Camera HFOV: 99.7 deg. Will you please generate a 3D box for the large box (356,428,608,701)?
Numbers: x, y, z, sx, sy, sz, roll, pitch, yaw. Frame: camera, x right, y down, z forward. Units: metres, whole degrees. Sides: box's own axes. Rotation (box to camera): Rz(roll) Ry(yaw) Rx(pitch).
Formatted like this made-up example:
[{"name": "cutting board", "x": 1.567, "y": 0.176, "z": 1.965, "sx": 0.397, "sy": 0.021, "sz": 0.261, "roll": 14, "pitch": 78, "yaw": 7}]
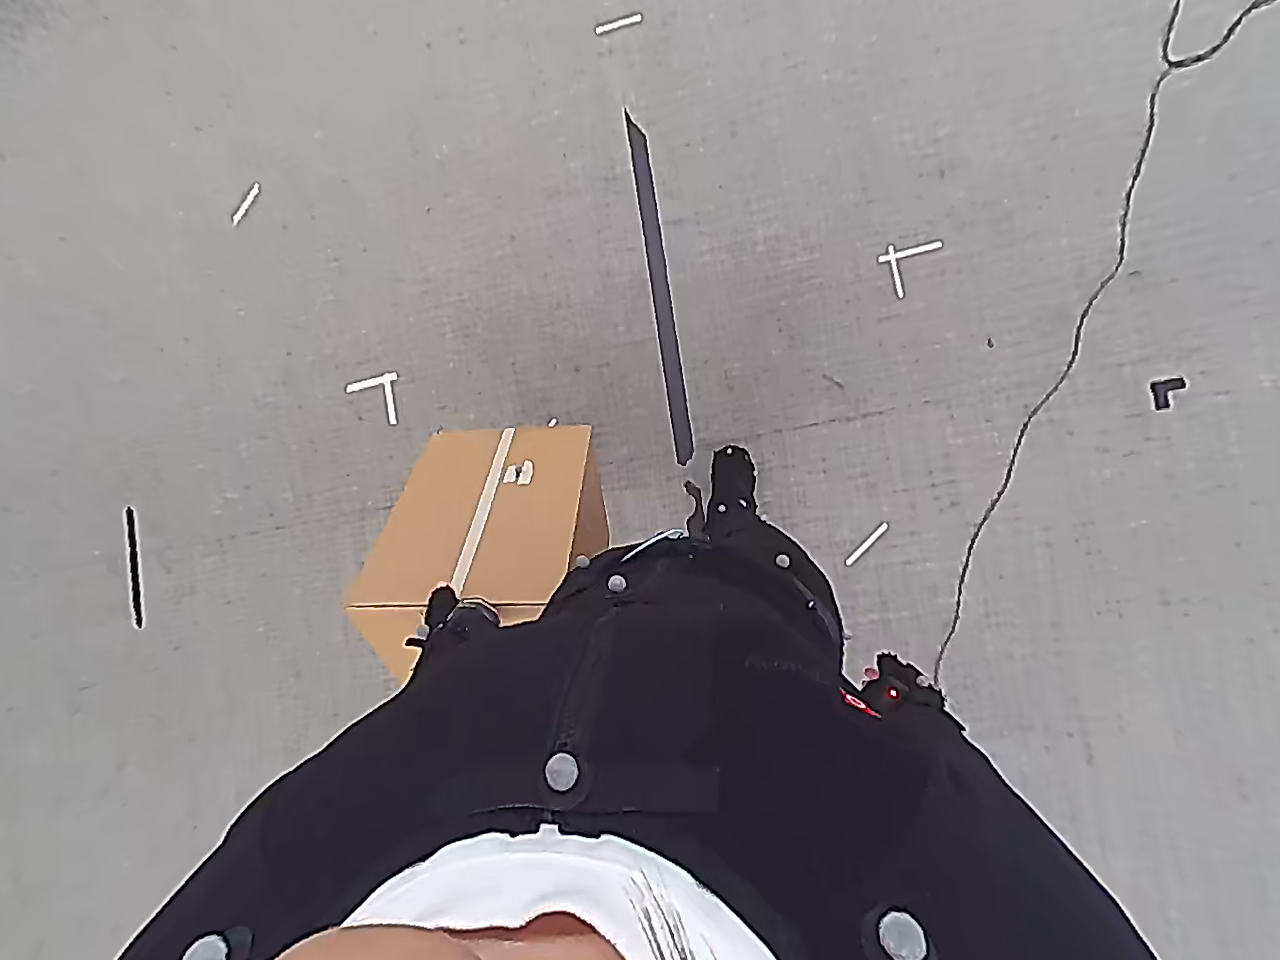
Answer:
[{"name": "large box", "x": -0.242, "y": 0.150, "z": 1.007, "sx": 0.320, "sy": 0.320, "sz": 0.408, "roll": -1, "pitch": 41, "yaw": 5}]
